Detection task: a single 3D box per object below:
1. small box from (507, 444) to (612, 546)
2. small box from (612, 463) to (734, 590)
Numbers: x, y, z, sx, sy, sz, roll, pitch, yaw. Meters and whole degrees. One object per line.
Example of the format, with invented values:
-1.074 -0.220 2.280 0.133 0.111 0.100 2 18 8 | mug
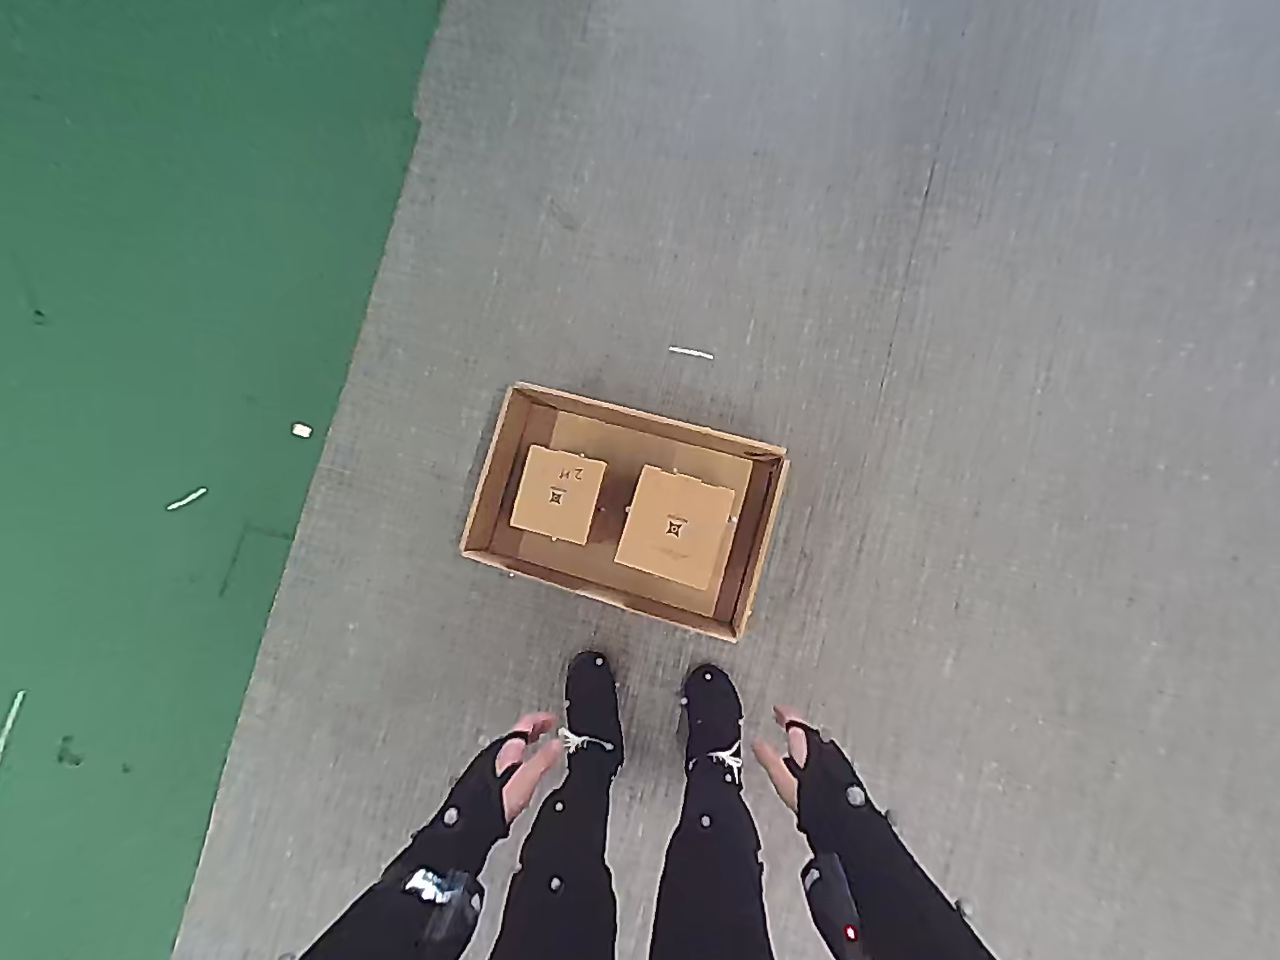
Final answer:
-0.165 0.036 1.176 0.168 0.176 0.179 14 86 6 | small box
0.063 0.085 0.980 0.168 0.176 0.179 17 86 10 | small box
